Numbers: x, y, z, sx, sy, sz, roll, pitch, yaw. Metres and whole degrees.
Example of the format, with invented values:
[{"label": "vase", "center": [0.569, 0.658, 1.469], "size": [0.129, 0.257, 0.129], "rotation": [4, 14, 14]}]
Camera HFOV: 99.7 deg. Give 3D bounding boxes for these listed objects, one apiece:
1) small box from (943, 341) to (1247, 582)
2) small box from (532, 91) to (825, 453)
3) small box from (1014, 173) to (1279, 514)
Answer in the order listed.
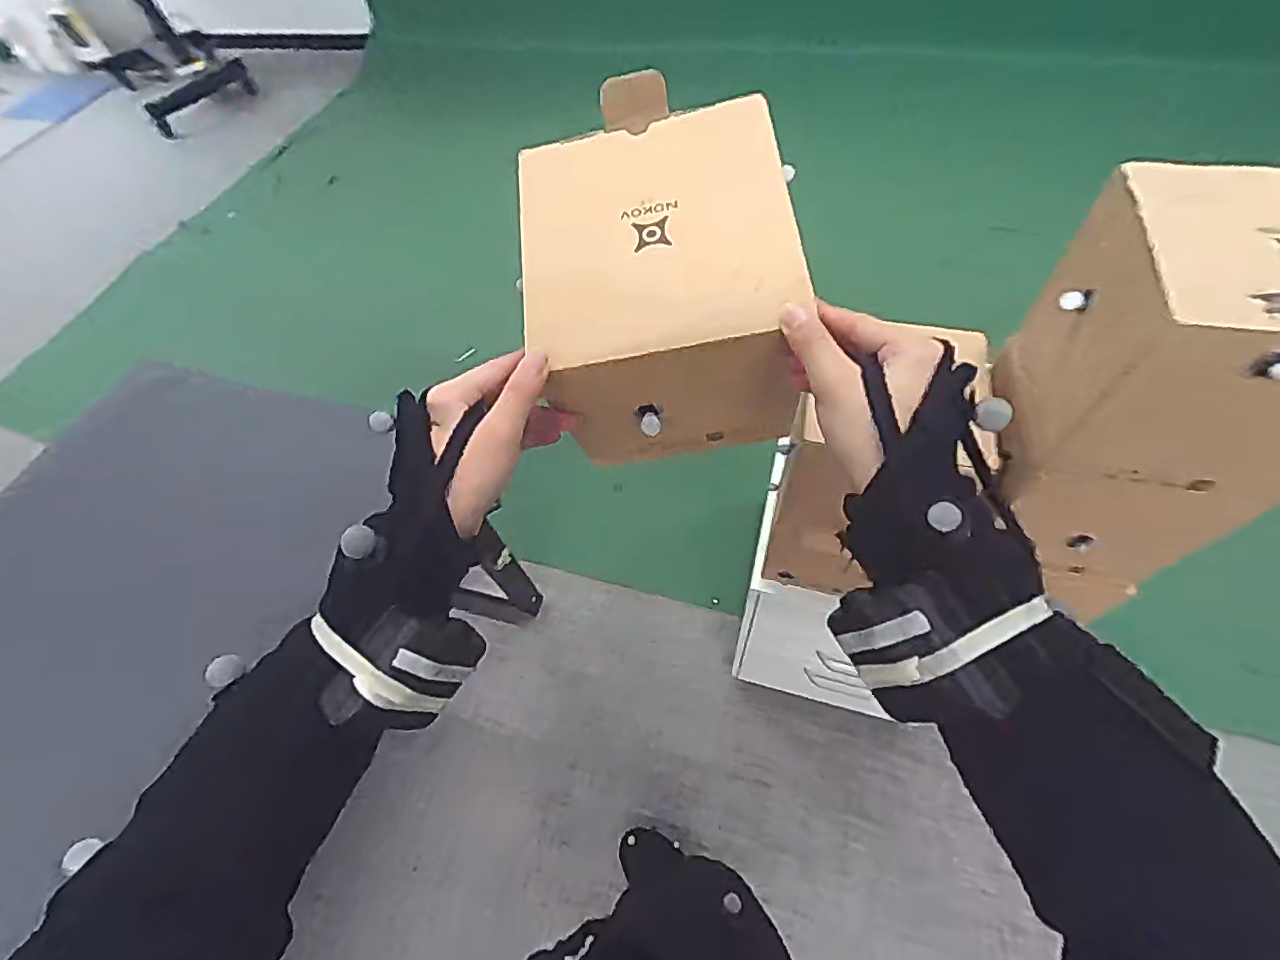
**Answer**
[{"label": "small box", "center": [0.429, -0.013, 0.550], "size": [0.168, 0.176, 0.179], "rotation": [8, 59, 11]}, {"label": "small box", "center": [0.028, -0.129, 0.399], "size": [0.168, 0.176, 0.179], "rotation": [-8, 70, 7]}, {"label": "small box", "center": [0.416, -0.101, 0.412], "size": [0.168, 0.176, 0.179], "rotation": [10, 58, 12]}]
